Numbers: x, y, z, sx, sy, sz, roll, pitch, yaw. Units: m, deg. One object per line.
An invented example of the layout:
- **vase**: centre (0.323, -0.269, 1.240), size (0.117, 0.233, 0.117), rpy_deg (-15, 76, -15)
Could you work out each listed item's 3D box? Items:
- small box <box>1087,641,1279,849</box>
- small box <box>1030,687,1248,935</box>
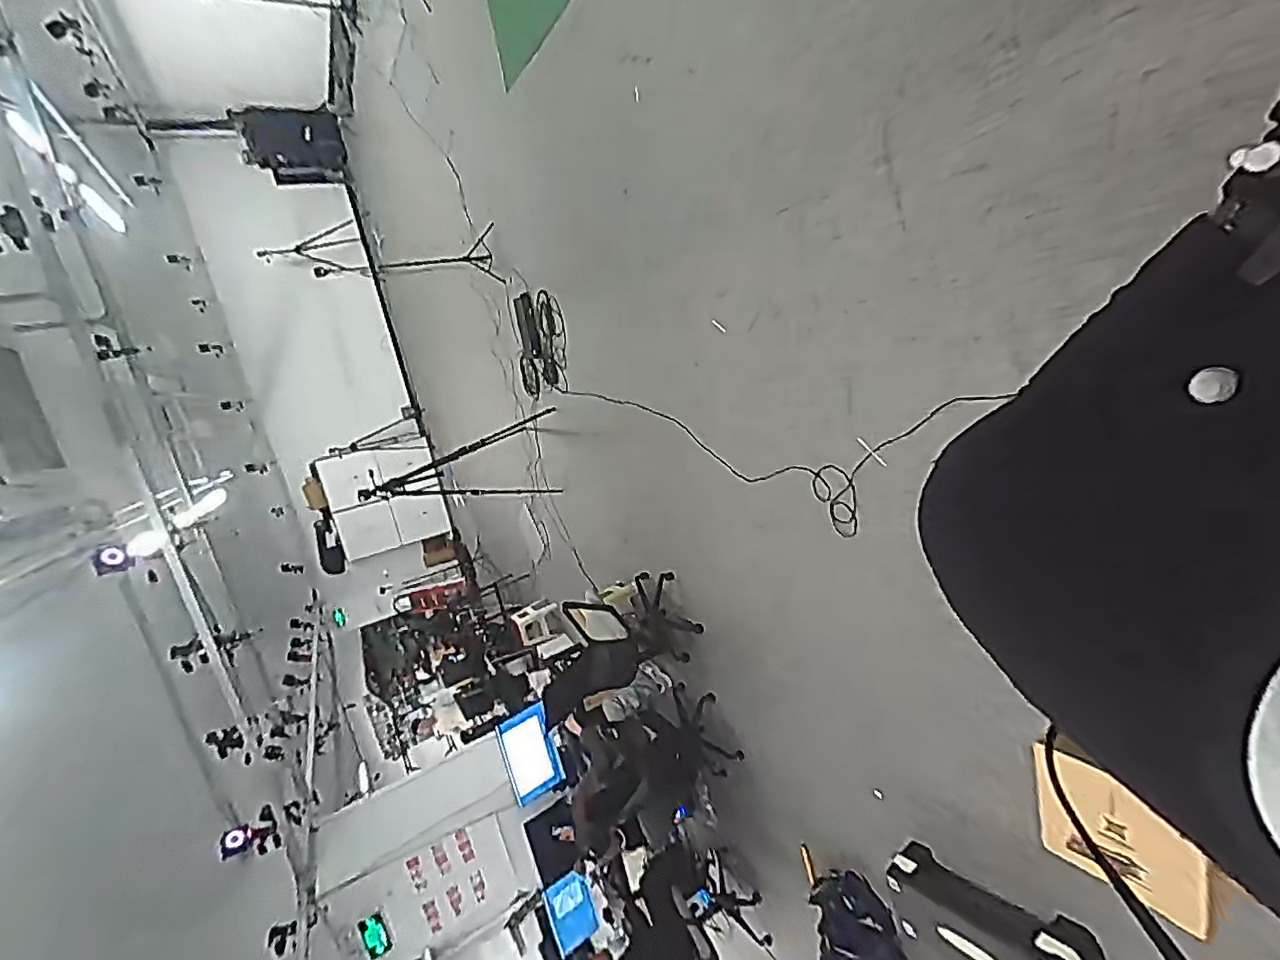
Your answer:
- **small box**: centre (0.782, 0.359, 0.776), size (0.168, 0.176, 0.179), rpy_deg (6, 114, 61)
- **small box**: centre (0.644, 0.408, 0.701), size (0.168, 0.176, 0.179), rpy_deg (8, 113, 60)
